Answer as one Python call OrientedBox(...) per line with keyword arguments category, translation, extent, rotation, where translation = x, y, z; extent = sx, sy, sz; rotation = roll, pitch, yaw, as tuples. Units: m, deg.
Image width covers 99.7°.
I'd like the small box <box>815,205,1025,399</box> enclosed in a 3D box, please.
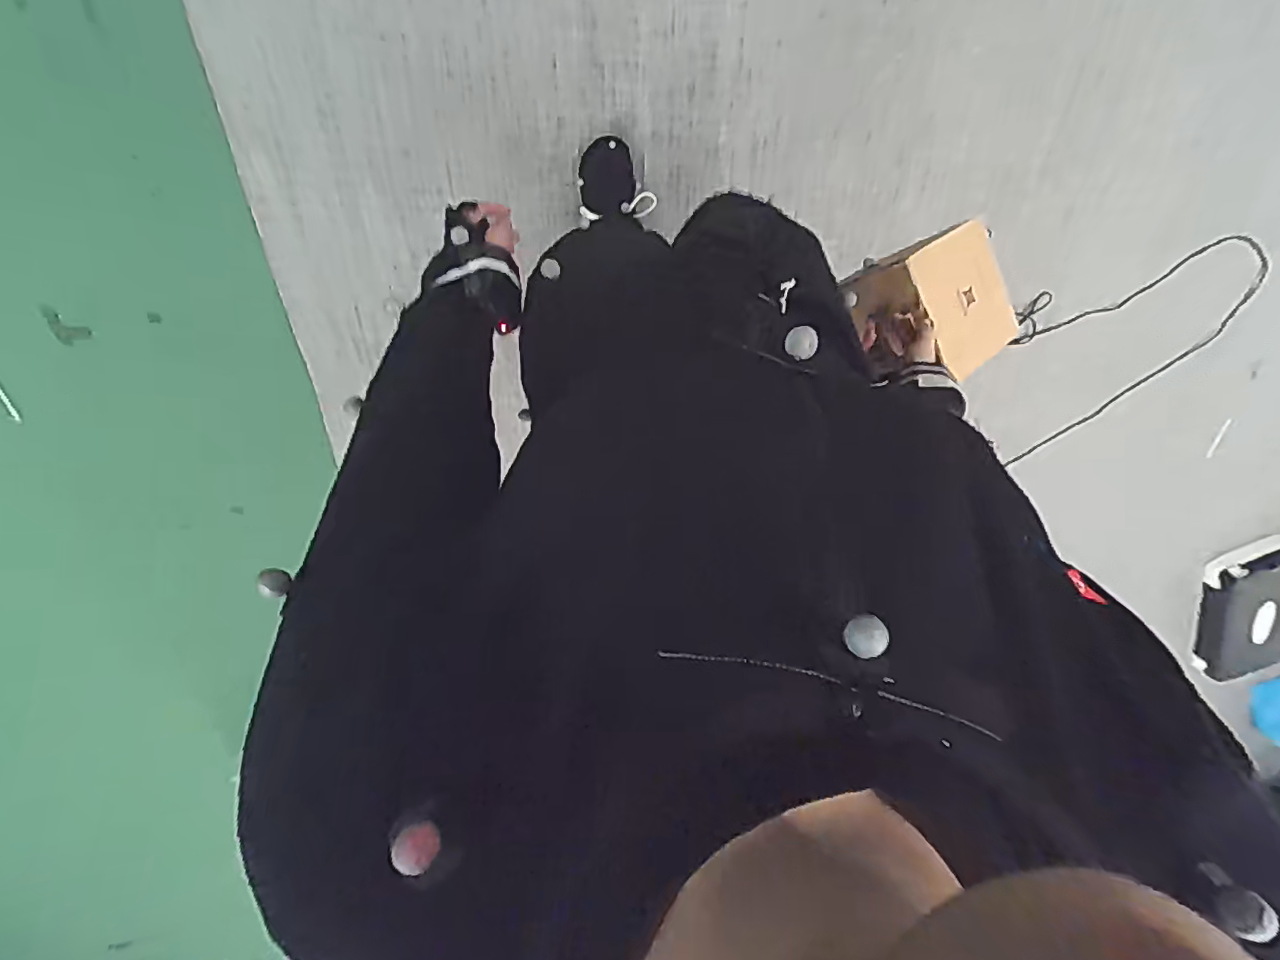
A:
OrientedBox(category="small box", translation=(0.357, -0.223, 0.715), extent=(0.179, 0.176, 0.168), rotation=(-35, 105, -26))
